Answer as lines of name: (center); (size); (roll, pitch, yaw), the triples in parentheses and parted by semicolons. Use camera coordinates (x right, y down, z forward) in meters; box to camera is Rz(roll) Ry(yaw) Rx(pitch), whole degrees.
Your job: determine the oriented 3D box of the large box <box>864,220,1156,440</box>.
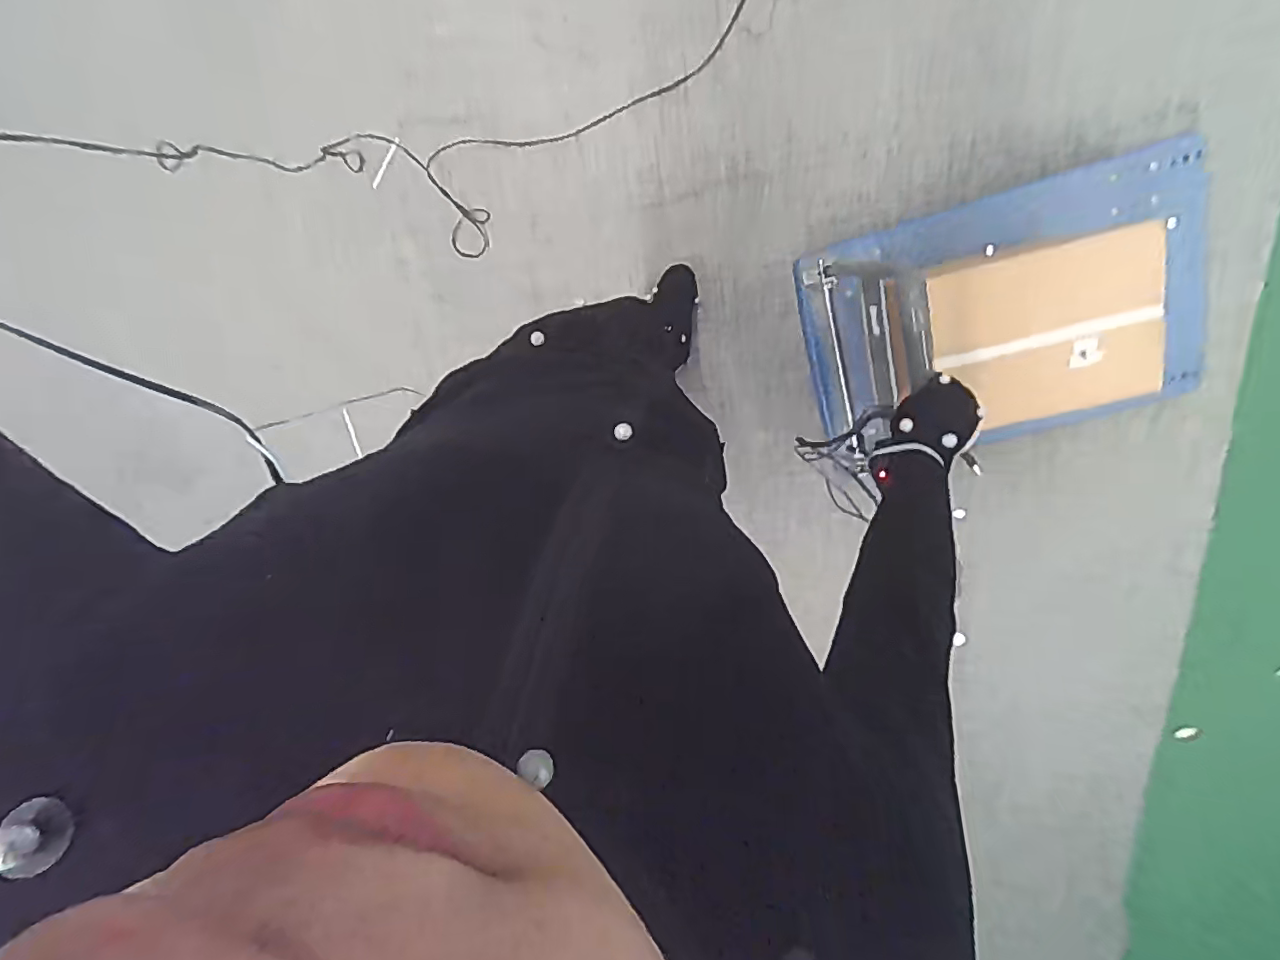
large box: (0.744, -0.311, 1.145); (0.408, 0.320, 0.320); (-13, 108, 7)
